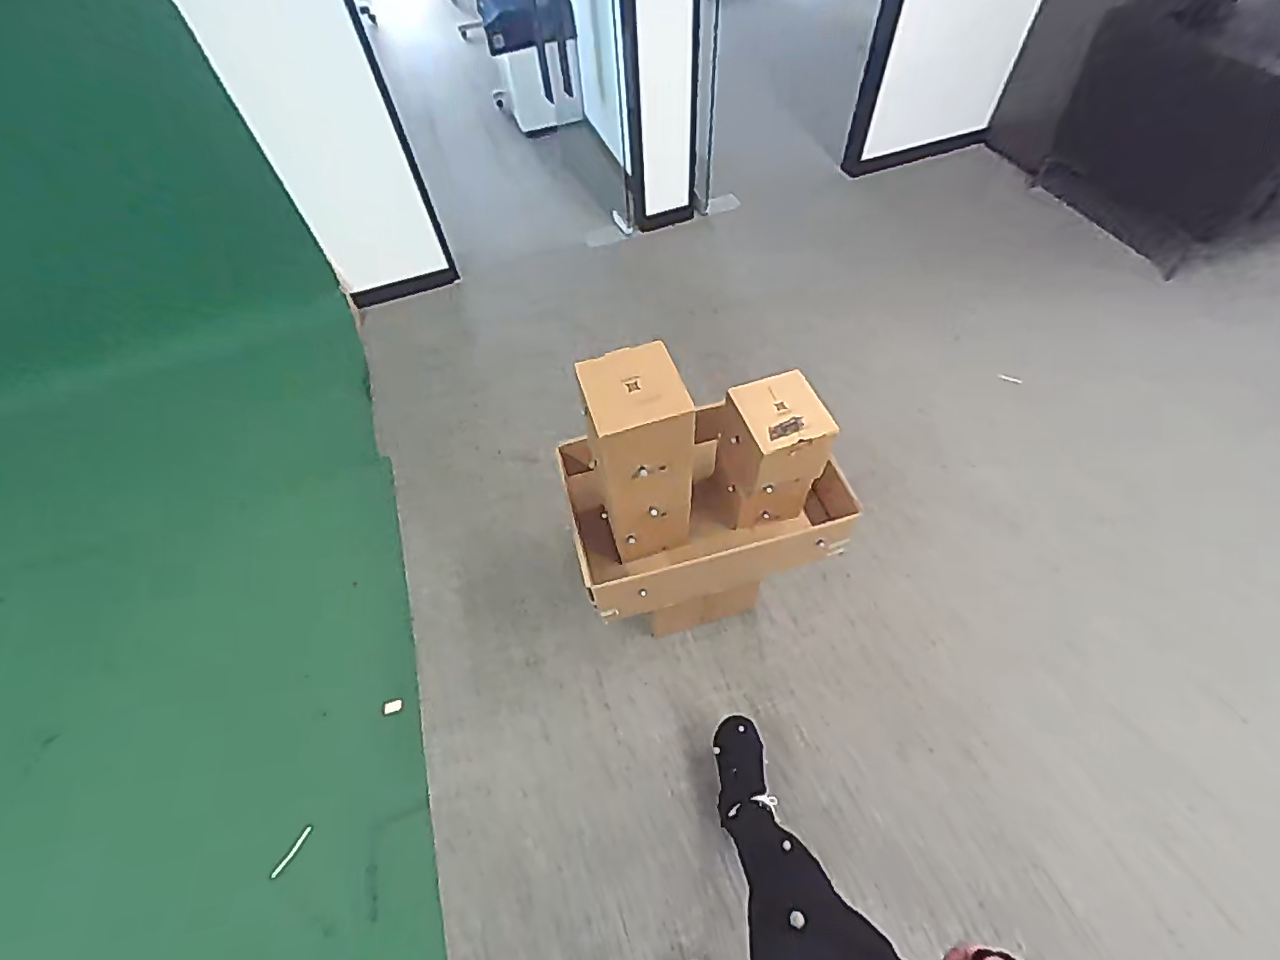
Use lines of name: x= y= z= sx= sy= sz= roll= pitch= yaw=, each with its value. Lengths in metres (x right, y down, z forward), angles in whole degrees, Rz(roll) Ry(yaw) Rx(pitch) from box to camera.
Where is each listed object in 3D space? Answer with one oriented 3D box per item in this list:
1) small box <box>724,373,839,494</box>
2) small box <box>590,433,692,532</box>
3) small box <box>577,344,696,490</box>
small box: x=0.287 y=-0.089 z=1.139 sx=0.168 sy=0.176 sz=0.179 roll=-16 pitch=57 yaw=-8
small box: x=0.000 y=-0.022 z=1.108 sx=0.168 sy=0.176 sz=0.179 roll=-16 pitch=57 yaw=-7
small box: x=-0.007 y=-0.111 z=0.972 sx=0.168 sy=0.176 sz=0.179 roll=-16 pitch=57 yaw=-6
